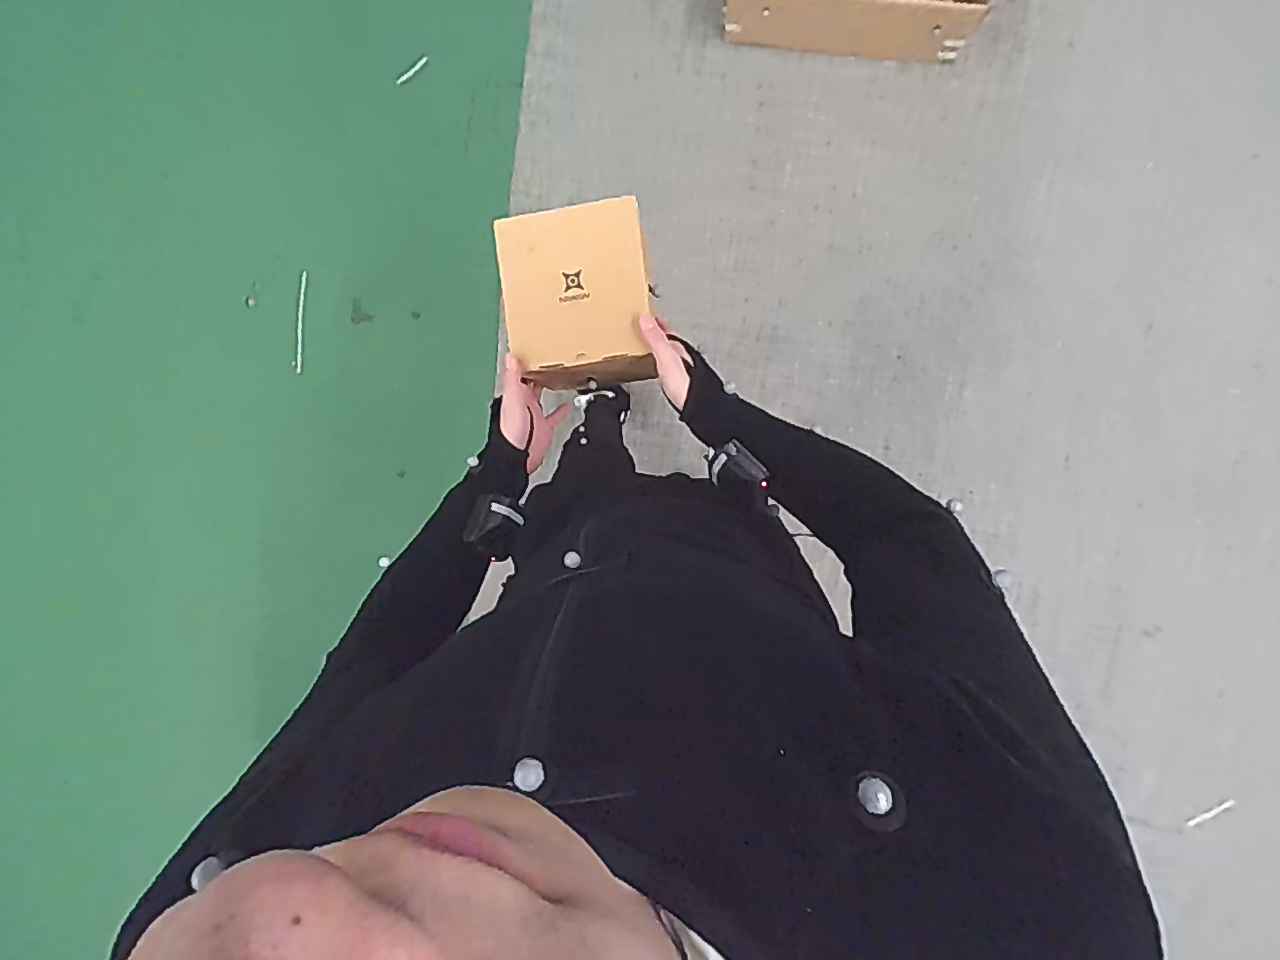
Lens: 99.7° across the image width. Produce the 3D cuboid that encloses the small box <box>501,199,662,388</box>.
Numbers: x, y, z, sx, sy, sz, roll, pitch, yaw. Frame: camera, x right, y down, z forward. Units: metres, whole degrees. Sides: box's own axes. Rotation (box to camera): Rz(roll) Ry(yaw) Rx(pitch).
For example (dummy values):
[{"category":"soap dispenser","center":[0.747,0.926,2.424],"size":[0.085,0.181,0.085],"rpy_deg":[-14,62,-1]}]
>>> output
[{"category":"small box","center":[-0.063,-0.221,0.685],"size":[0.168,0.176,0.179],"rpy_deg":[-6,93,5]}]
